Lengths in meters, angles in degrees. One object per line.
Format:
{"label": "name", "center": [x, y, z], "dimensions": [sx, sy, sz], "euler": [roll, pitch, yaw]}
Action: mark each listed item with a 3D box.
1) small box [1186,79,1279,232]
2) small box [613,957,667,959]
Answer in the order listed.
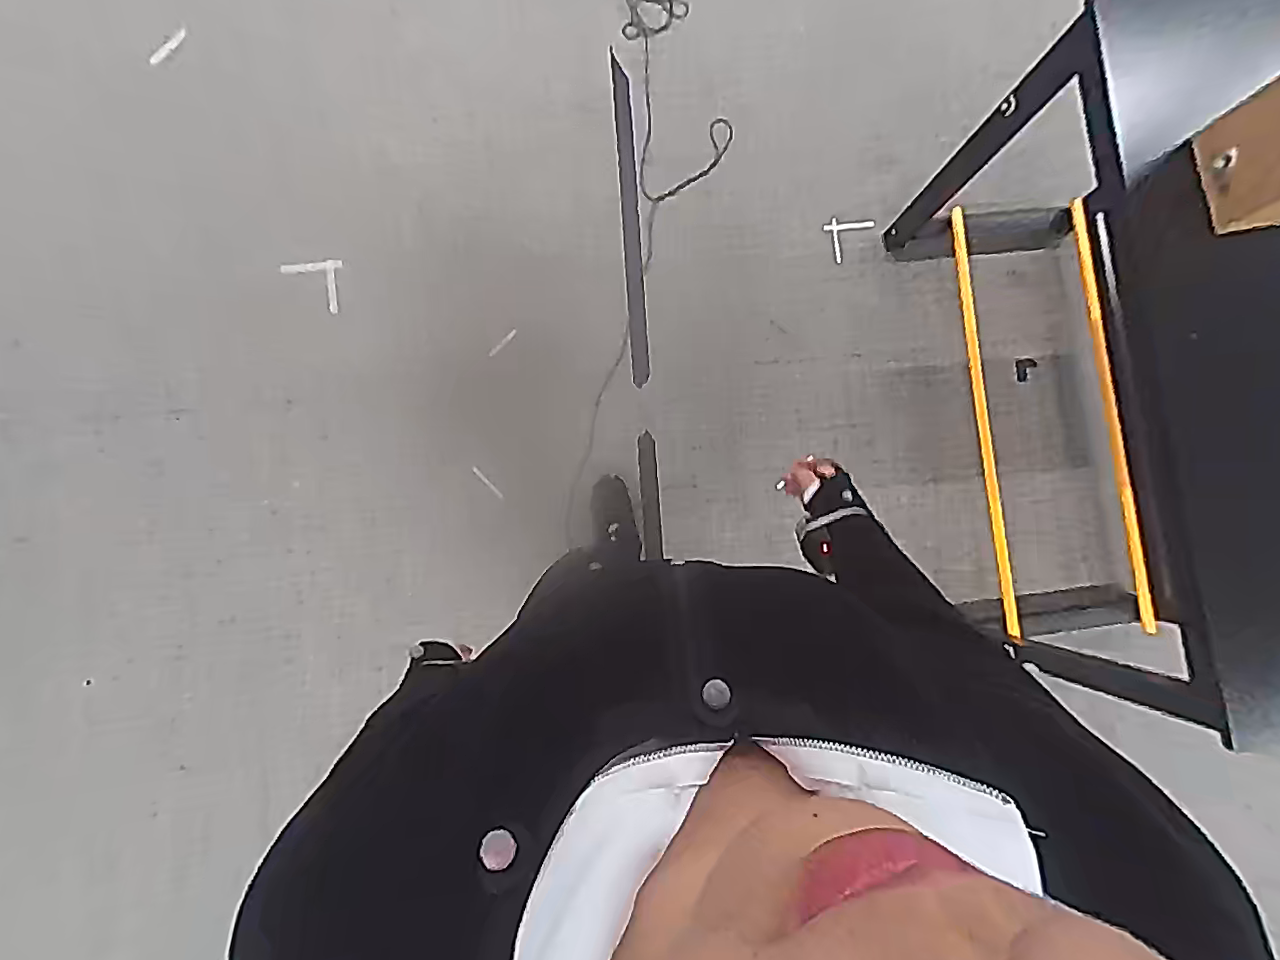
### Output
{"label": "small box", "center": [0.969, -0.488, 0.780], "dimensions": [0.179, 0.176, 0.168], "euler": [-11, 85, -2]}
{"label": "small box", "center": [-0.006, 1.313, 1.317], "dimensions": [0.179, 0.176, 0.168], "euler": [-2, 85, -1]}
